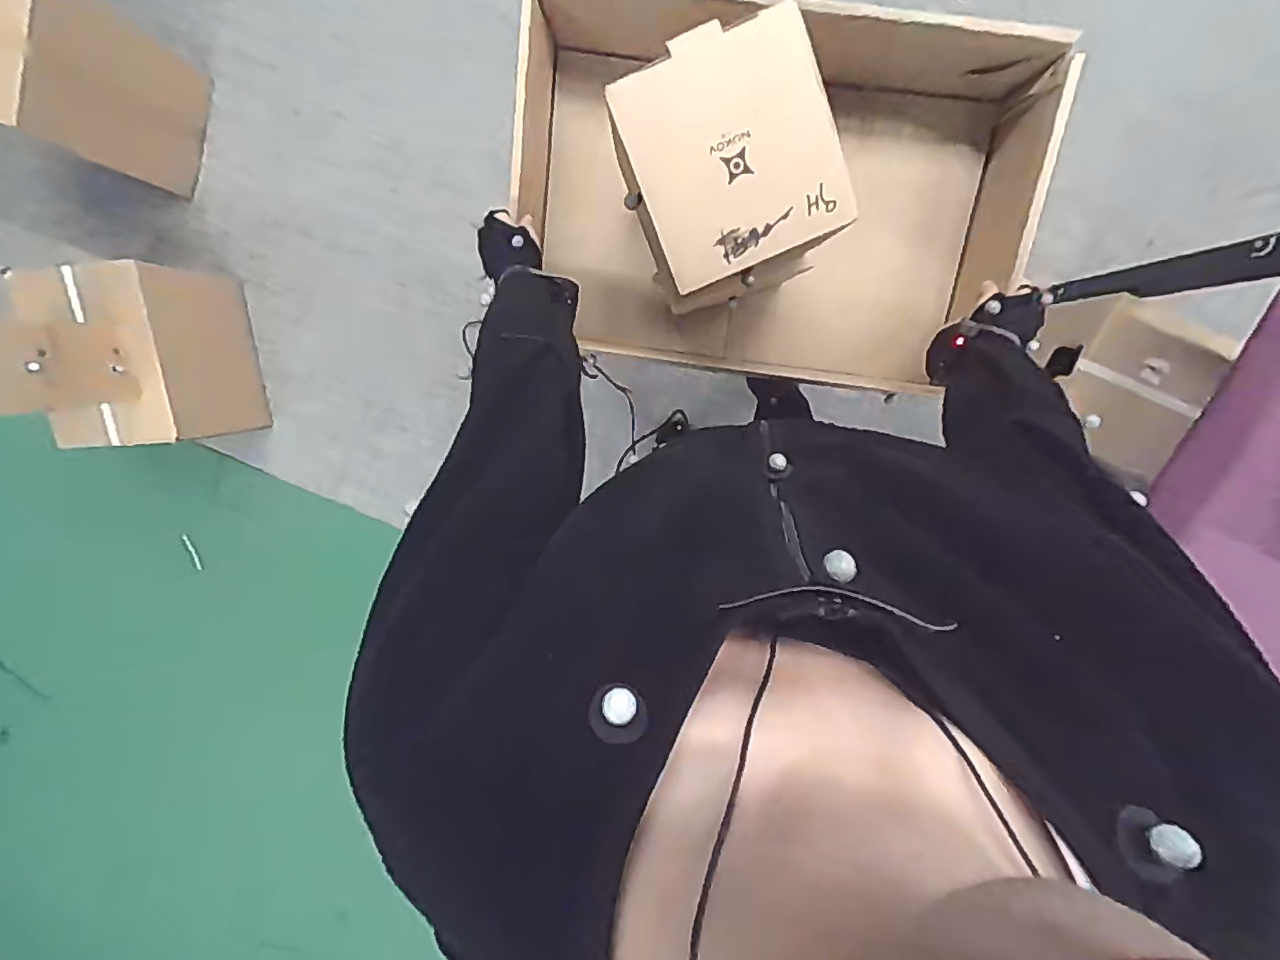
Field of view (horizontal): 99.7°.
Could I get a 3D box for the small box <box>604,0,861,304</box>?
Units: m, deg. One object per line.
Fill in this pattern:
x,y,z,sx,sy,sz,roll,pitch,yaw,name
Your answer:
0.078,-0.287,0.515,0.168,0.176,0.179,-22,101,7,small box

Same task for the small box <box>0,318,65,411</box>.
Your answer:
-1.237,-0.208,0.990,0.179,0.176,0.168,-4,102,3,small box

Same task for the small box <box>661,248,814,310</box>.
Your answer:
0.099,-0.320,0.675,0.168,0.176,0.179,-16,102,5,small box

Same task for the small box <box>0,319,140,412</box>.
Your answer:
-1.240,-0.239,1.151,0.179,0.176,0.168,-8,101,5,small box

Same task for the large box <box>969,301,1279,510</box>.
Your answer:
1.090,-0.174,1.251,0.408,0.320,0.320,24,101,0,large box
